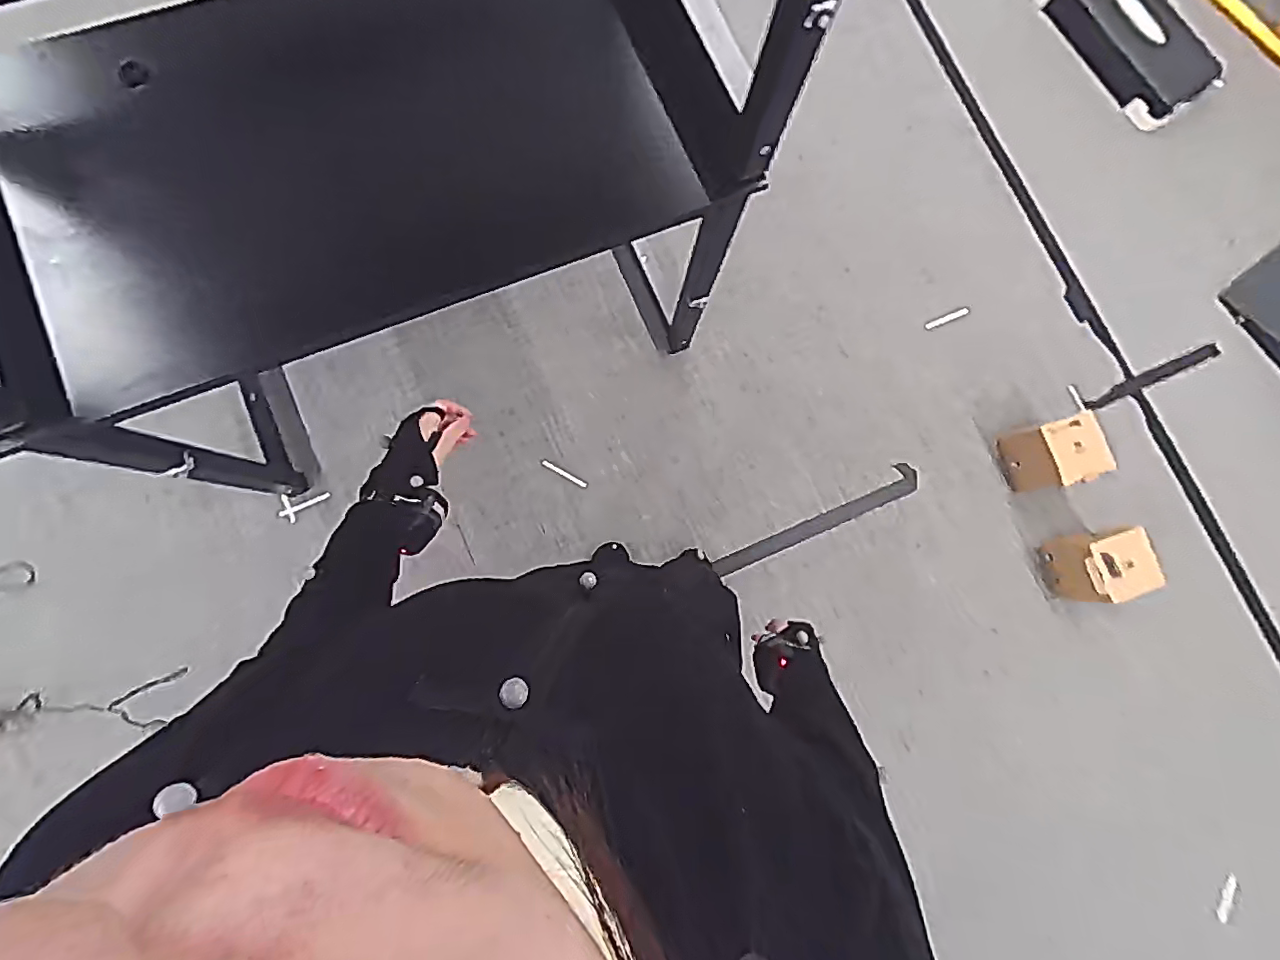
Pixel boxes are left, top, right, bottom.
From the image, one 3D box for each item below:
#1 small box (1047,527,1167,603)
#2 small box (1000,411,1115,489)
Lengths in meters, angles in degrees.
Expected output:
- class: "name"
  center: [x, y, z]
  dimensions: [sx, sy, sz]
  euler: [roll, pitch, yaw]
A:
- class: "small box"
  center: [1.290, 0.236, 1.513]
  dimensions: [0.179, 0.176, 0.168]
  euler: [-17, 84, -7]
- class: "small box"
  center: [1.184, -0.077, 1.545]
  dimensions: [0.168, 0.176, 0.179]
  euler: [-18, 85, -7]
